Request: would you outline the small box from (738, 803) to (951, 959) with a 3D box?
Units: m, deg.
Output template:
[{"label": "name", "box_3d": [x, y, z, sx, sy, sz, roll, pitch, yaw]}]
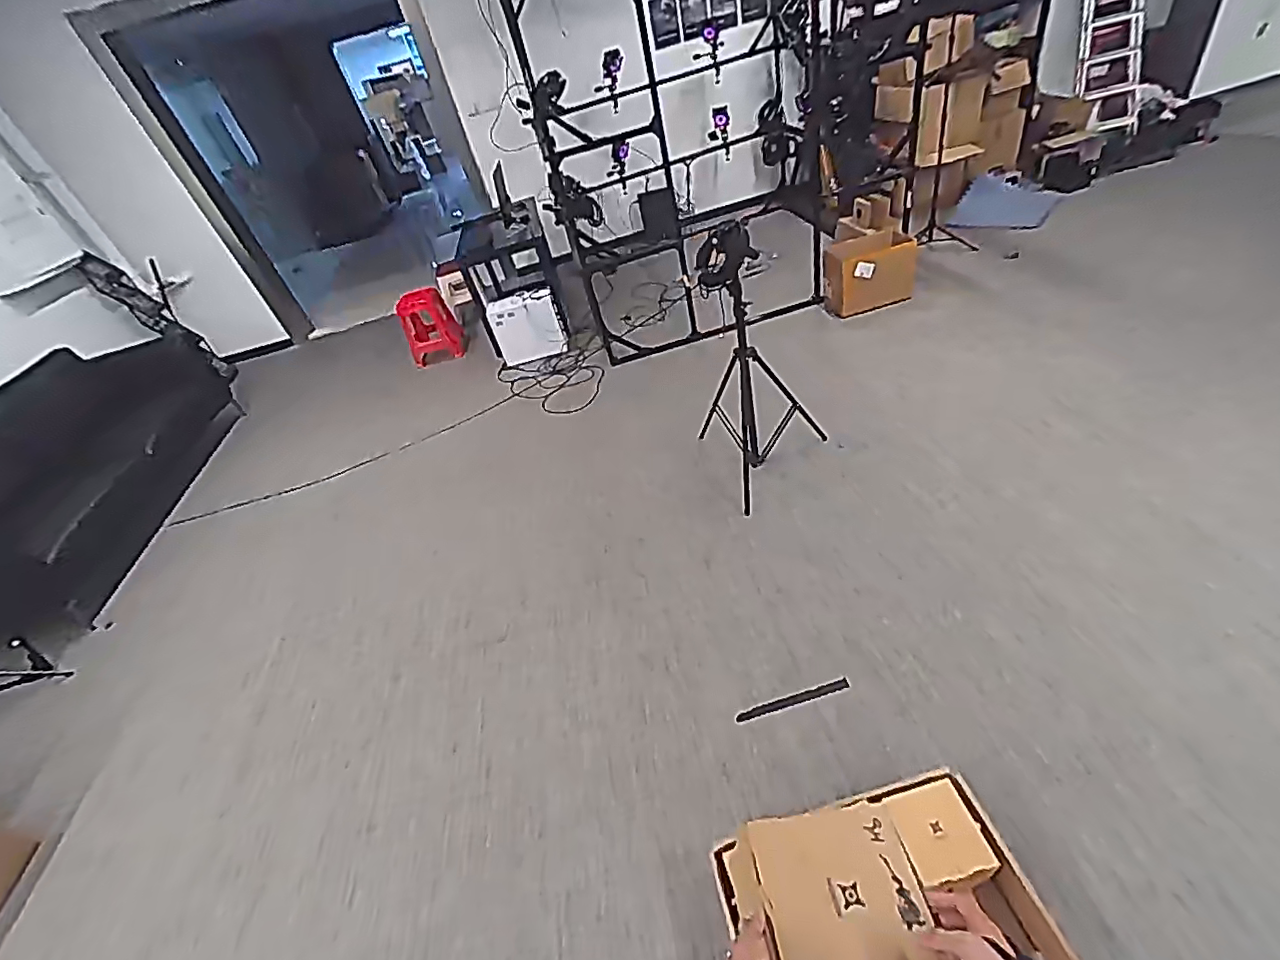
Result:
[{"label": "small box", "box_3d": [0.218, 0.505, 0.628, 0.179, 0.176, 0.168, -5, 42, -5]}]
